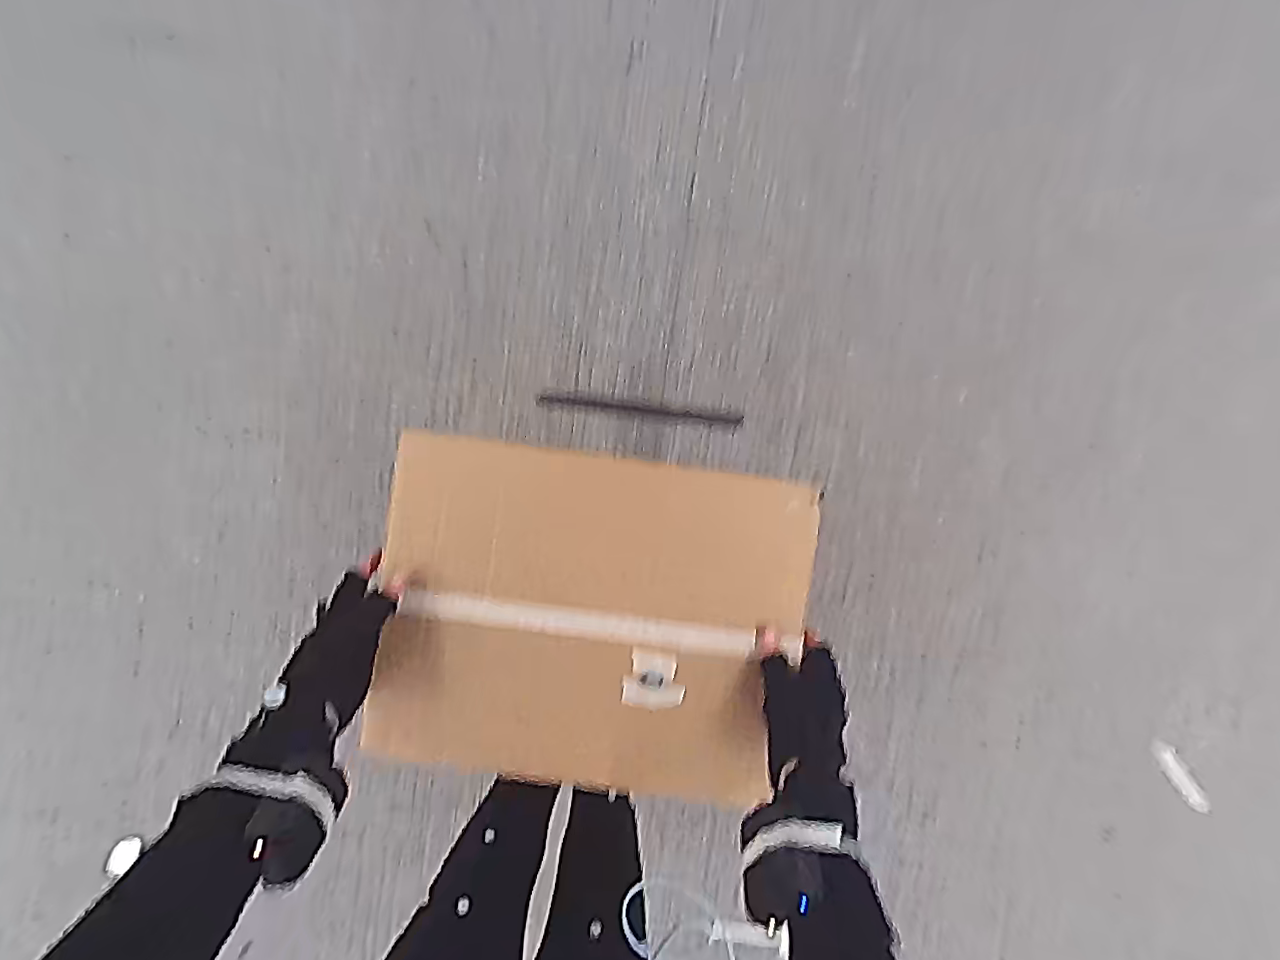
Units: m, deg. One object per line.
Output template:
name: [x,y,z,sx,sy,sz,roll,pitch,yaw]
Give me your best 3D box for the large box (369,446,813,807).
large box: [-0.049,0.143,0.667,0.408,0.320,0.320,8,90,-1]
